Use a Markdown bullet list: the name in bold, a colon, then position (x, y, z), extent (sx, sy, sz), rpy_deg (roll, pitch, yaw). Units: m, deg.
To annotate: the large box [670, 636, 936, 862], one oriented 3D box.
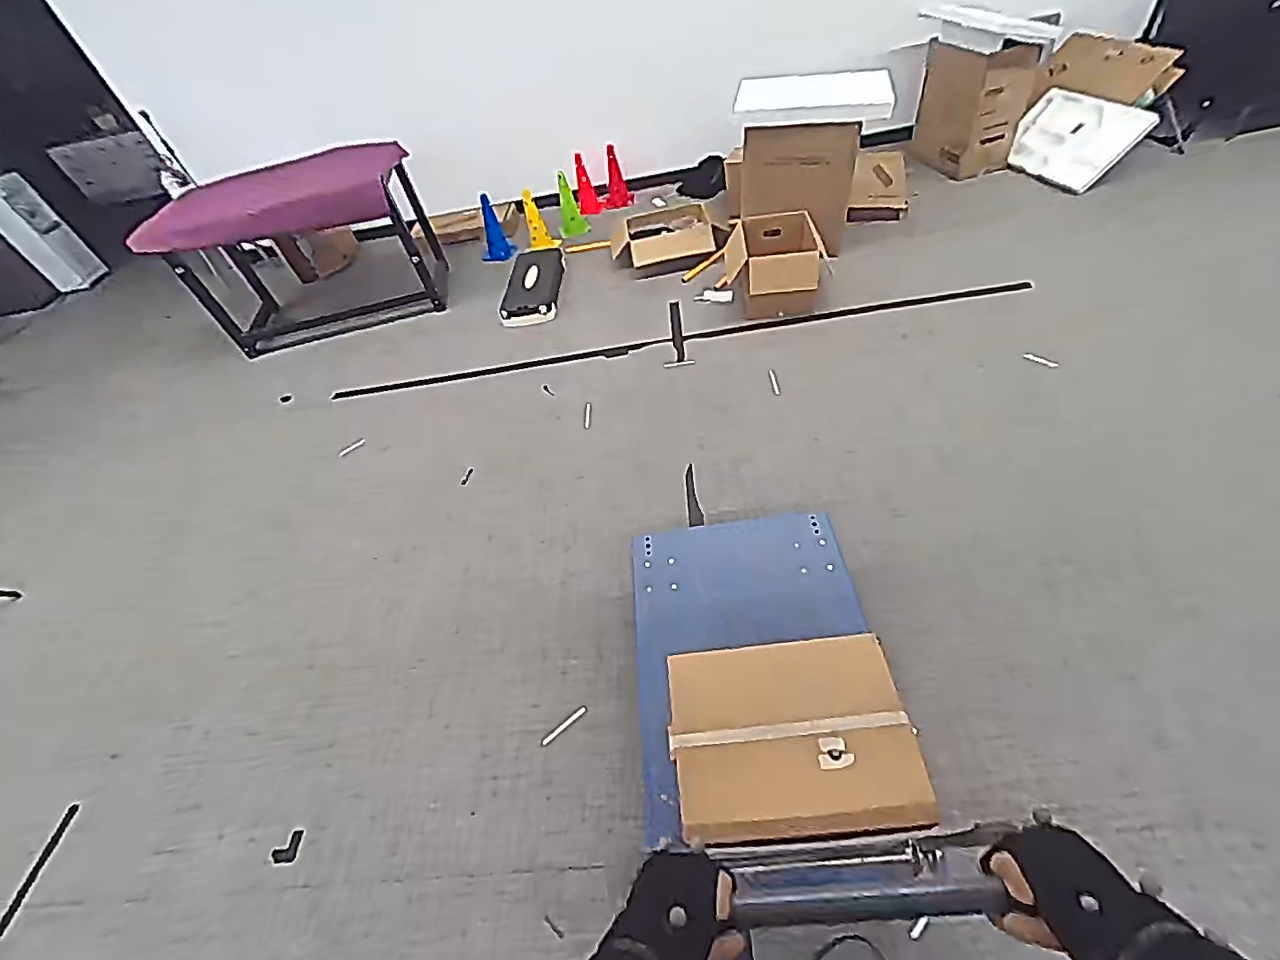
- **large box**: position (0.284, 0.541, 1.072), extent (0.408, 0.320, 0.320), rpy_deg (-8, 51, 4)
